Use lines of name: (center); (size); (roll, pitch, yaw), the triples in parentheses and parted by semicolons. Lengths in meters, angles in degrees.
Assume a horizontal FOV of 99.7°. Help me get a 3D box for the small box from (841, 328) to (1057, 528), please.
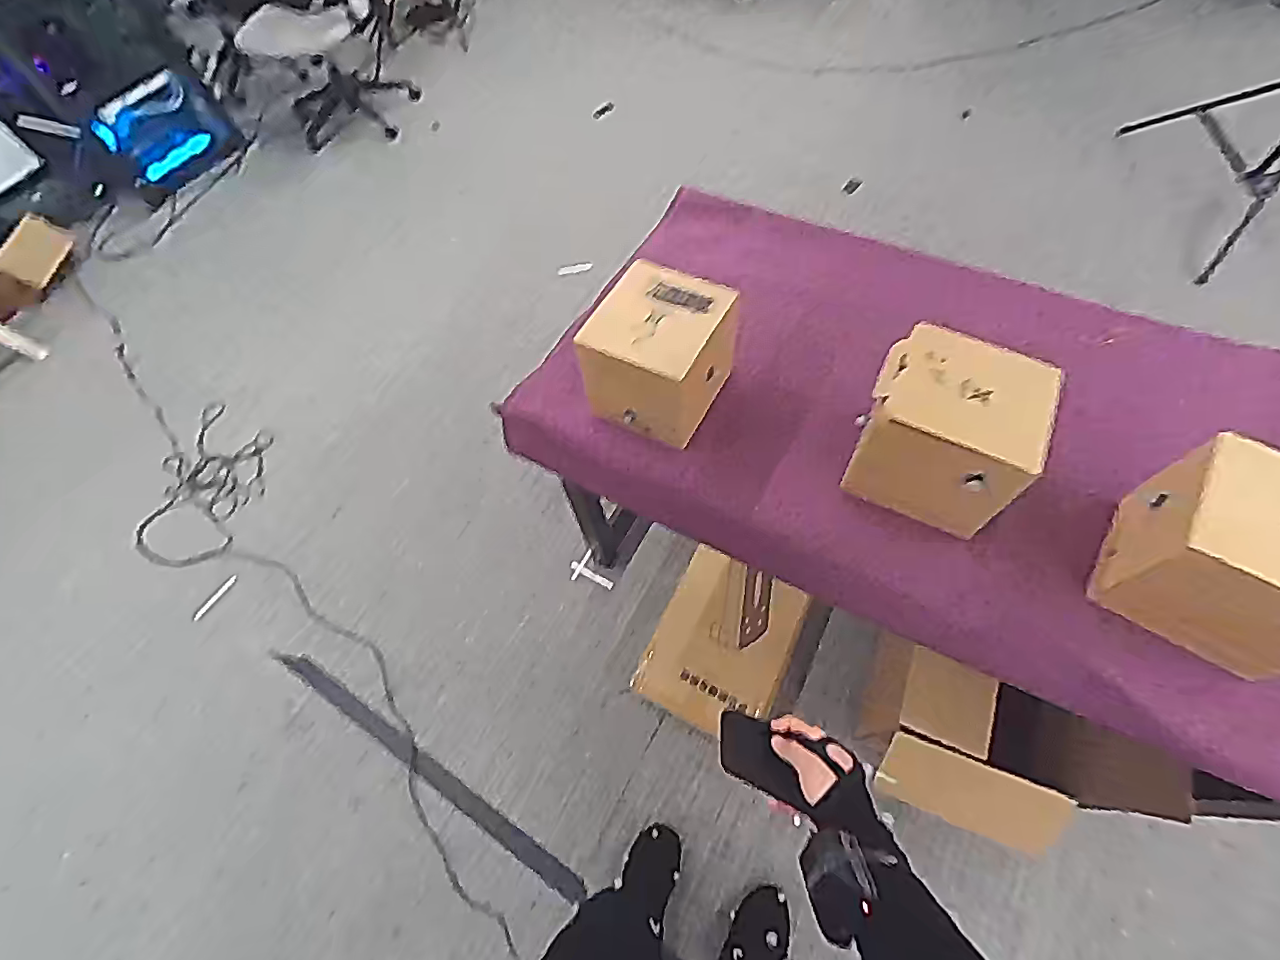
small box: (0.387, -0.060, 0.700); (0.179, 0.176, 0.168); (23, 63, 17)

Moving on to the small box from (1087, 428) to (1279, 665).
small box: (0.654, 0.080, 0.599); (0.179, 0.176, 0.168); (30, 67, 20)
